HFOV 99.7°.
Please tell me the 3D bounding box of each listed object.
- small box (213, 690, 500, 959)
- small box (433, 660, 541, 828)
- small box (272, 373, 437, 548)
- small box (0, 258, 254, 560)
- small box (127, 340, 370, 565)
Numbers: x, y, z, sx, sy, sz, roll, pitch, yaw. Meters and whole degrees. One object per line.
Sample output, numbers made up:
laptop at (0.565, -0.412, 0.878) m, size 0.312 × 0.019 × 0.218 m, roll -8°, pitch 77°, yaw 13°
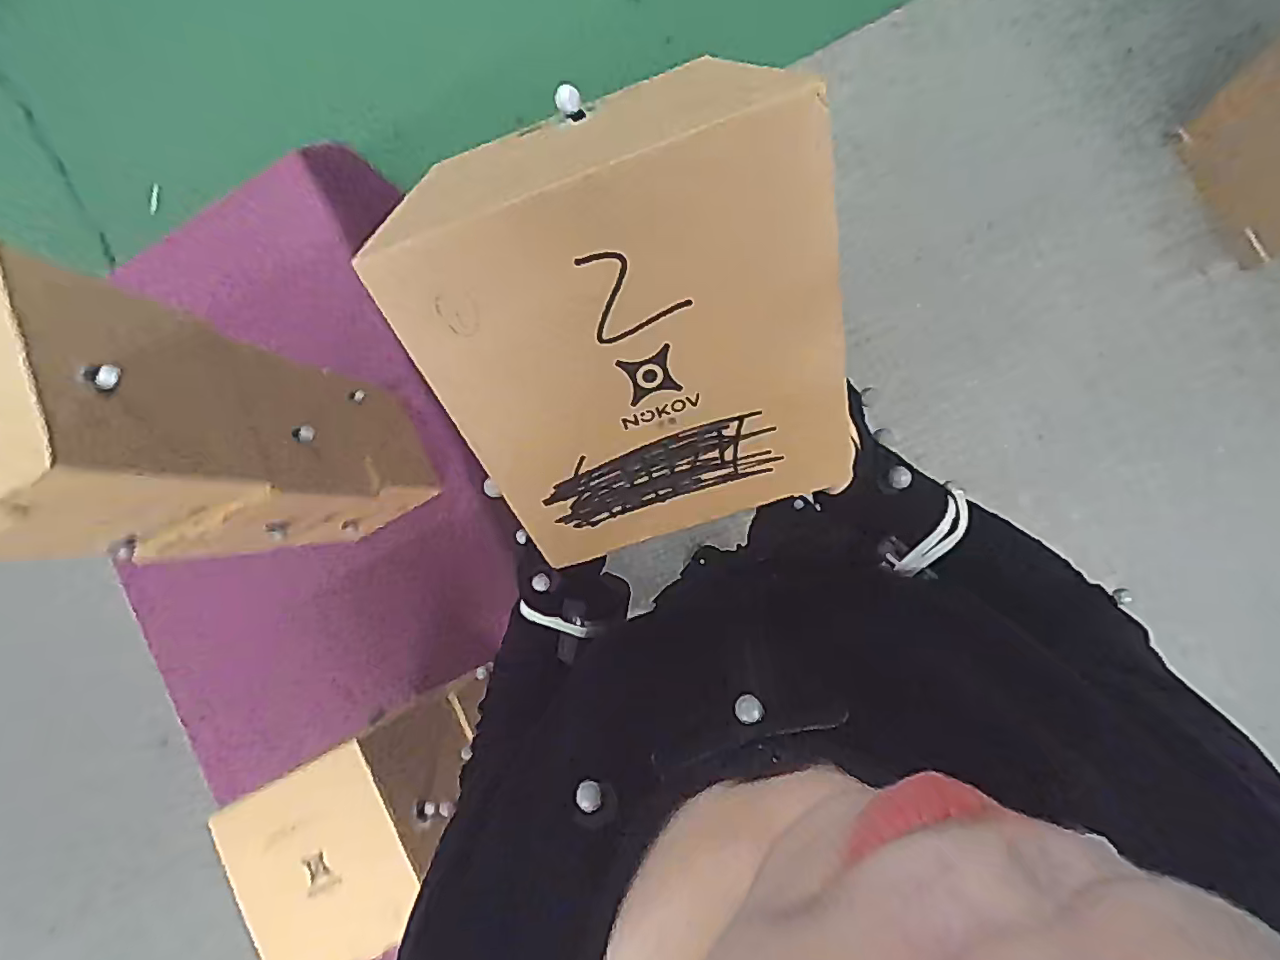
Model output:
small box at (-0.273, 0.352, 0.561) m, size 0.168 × 0.176 × 0.179 m, roll -28°, pitch 83°, yaw 4°
small box at (-0.249, 0.366, 0.722) m, size 0.179 × 0.176 × 0.168 m, roll -27°, pitch 83°, yaw 5°
small box at (-0.423, -0.023, 0.767) m, size 0.168 × 0.176 × 0.179 m, roll -29°, pitch 83°, yaw 5°
small box at (-0.465, -0.043, 0.441) m, size 0.168 × 0.176 × 0.179 m, roll -25°, pitch 83°, yaw 6°
small box at (-0.441, -0.025, 0.603) m, size 0.168 × 0.176 × 0.179 m, roll -25°, pitch 84°, yaw 5°
